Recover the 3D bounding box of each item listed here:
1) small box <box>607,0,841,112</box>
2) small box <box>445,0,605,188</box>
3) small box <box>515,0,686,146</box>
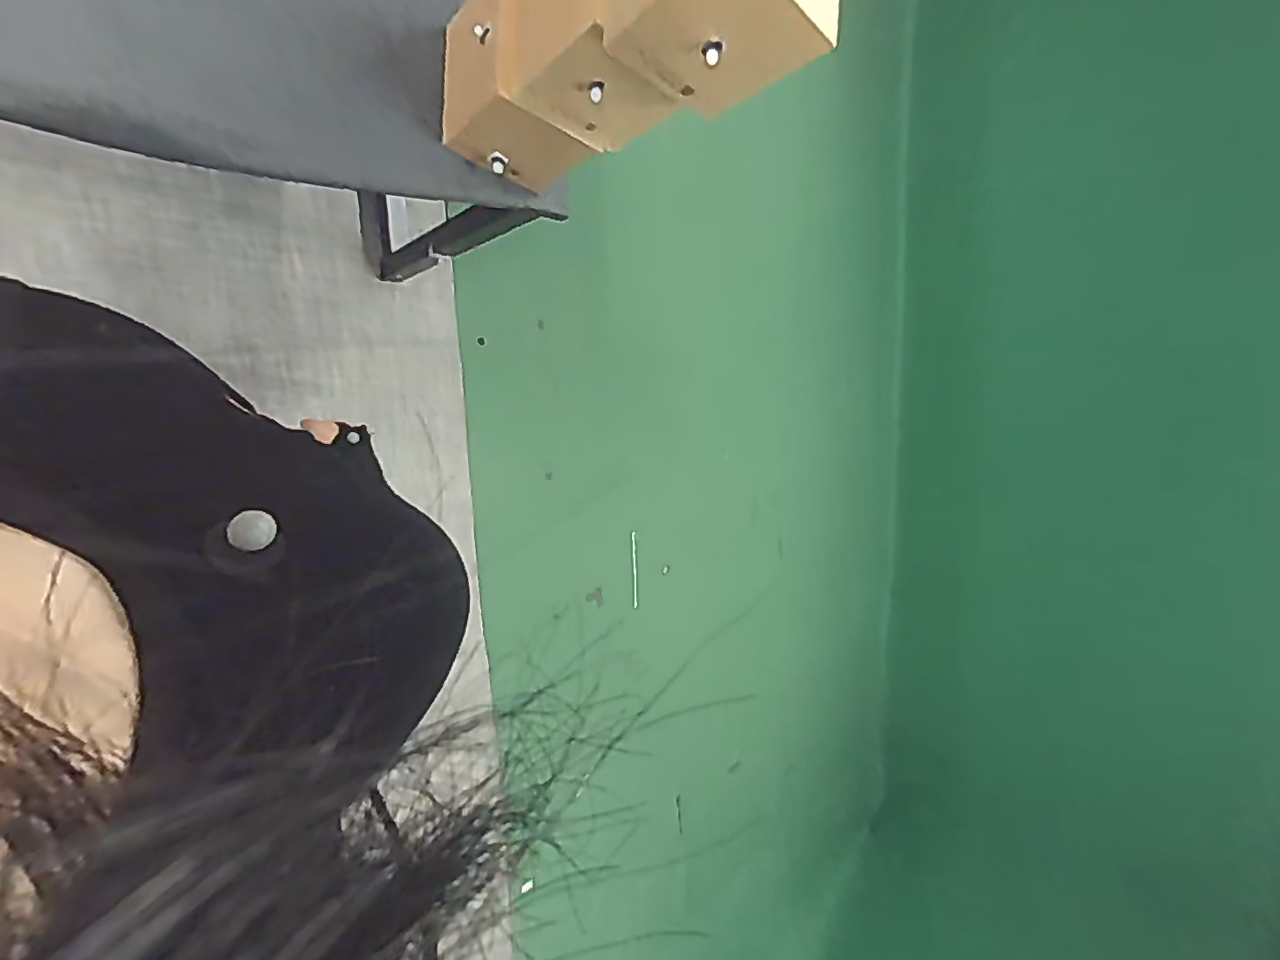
[{"bbox_3d":[0.081,-0.513,0.532,0.168,0.176,0.179,1,91,-43],"label":"small box"},{"bbox_3d":[-0.159,-0.549,0.754,0.168,0.176,0.179,2,92,-42],"label":"small box"},{"bbox_3d":[-0.037,-0.543,0.646,0.168,0.176,0.179,-1,92,-43],"label":"small box"}]
